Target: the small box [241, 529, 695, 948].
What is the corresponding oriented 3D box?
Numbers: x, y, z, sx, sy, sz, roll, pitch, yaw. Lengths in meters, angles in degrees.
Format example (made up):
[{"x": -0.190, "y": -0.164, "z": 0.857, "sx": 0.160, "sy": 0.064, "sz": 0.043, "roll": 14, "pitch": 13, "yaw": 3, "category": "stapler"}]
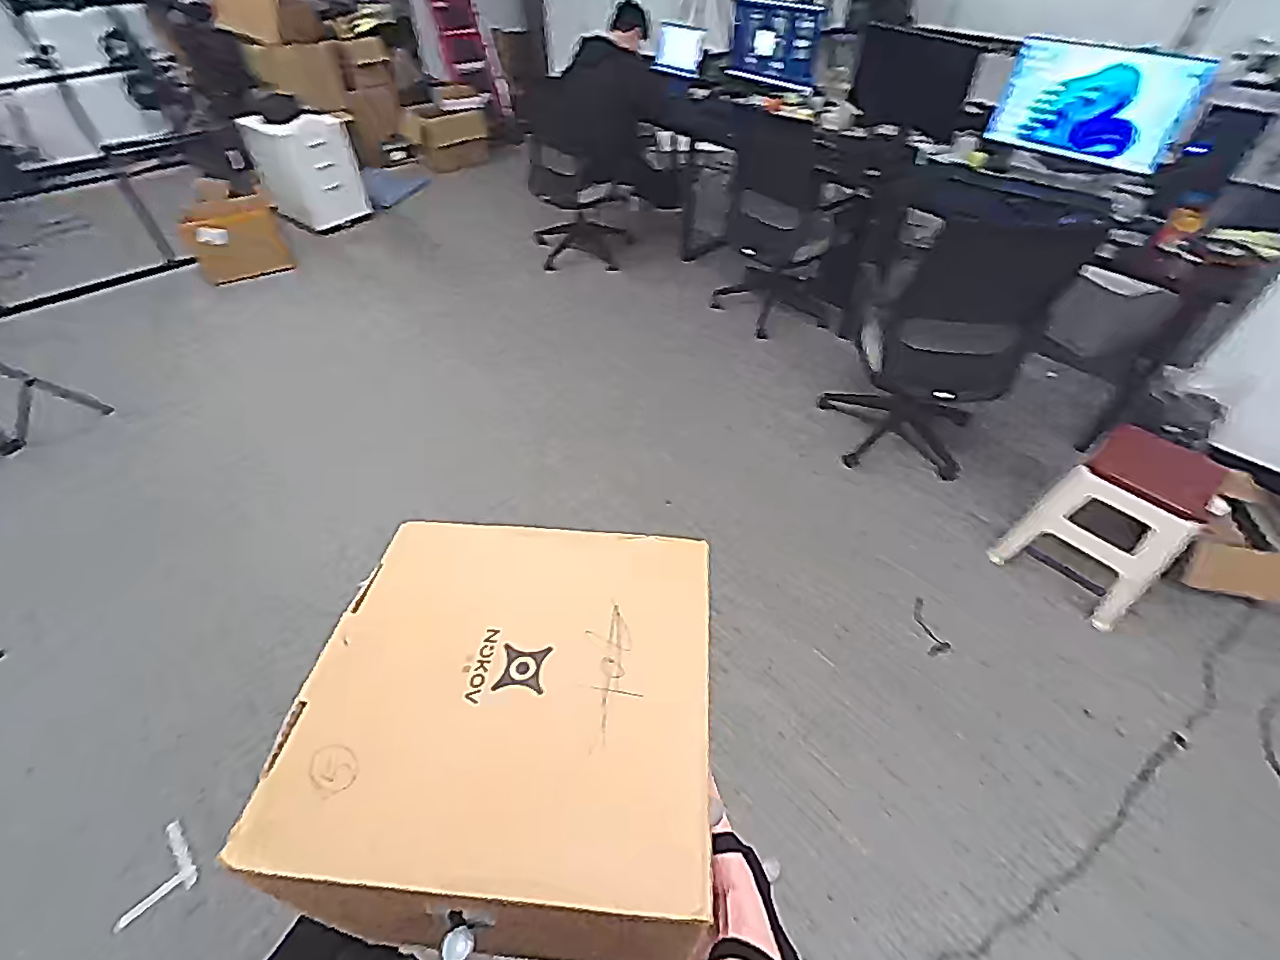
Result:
[{"x": -0.061, "y": 0.148, "z": 0.312, "sx": 0.179, "sy": 0.176, "sz": 0.168, "roll": 4, "pitch": 44, "yaw": 2, "category": "small box"}]
